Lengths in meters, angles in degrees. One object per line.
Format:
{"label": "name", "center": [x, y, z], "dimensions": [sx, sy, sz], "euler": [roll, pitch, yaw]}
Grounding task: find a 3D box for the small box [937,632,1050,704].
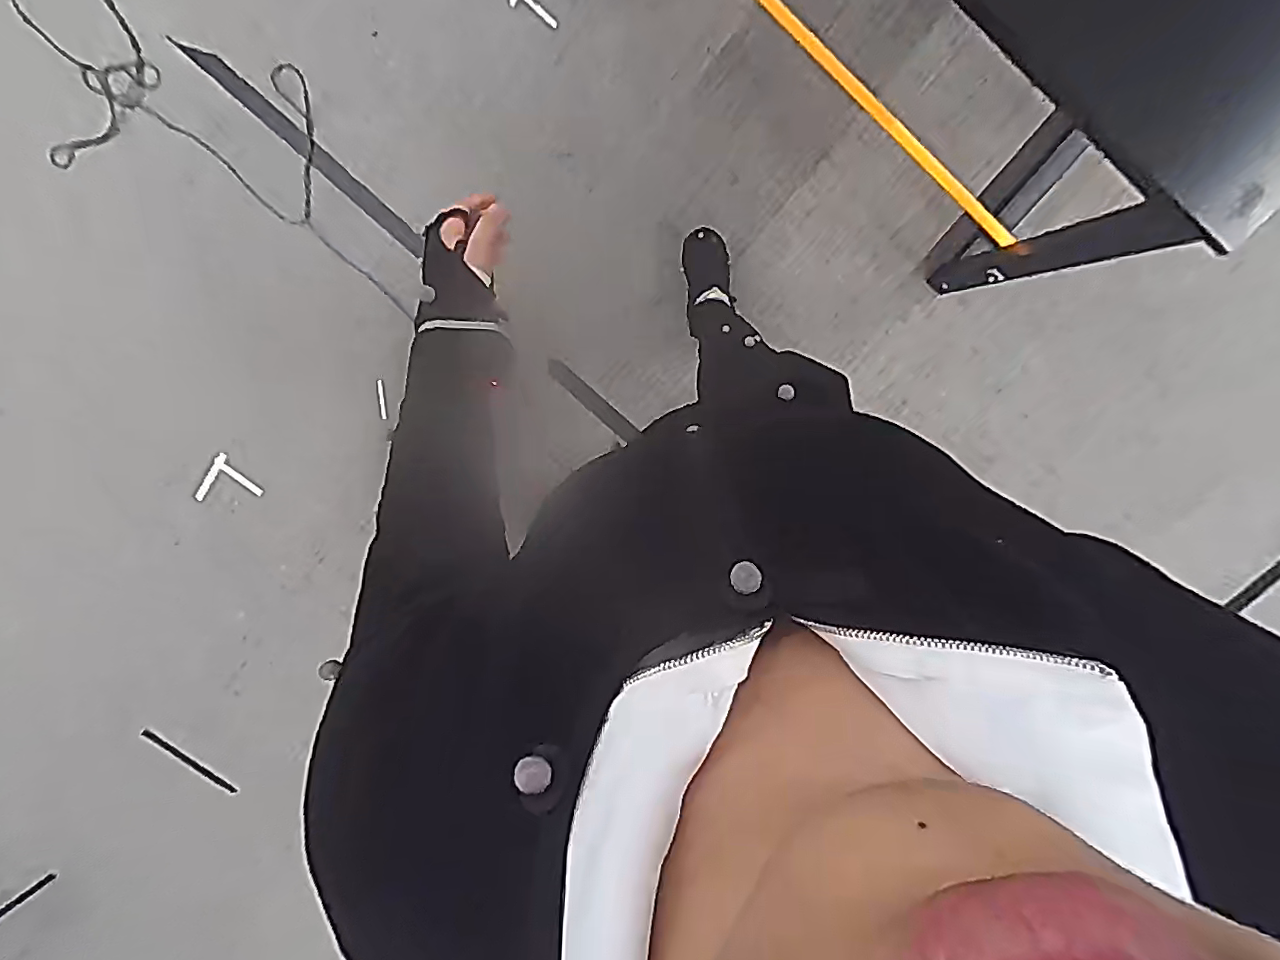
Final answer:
{"label": "small box", "center": [0.967, 0.564, 1.505], "dimensions": [0.168, 0.176, 0.179], "euler": [42, 102, -7]}
